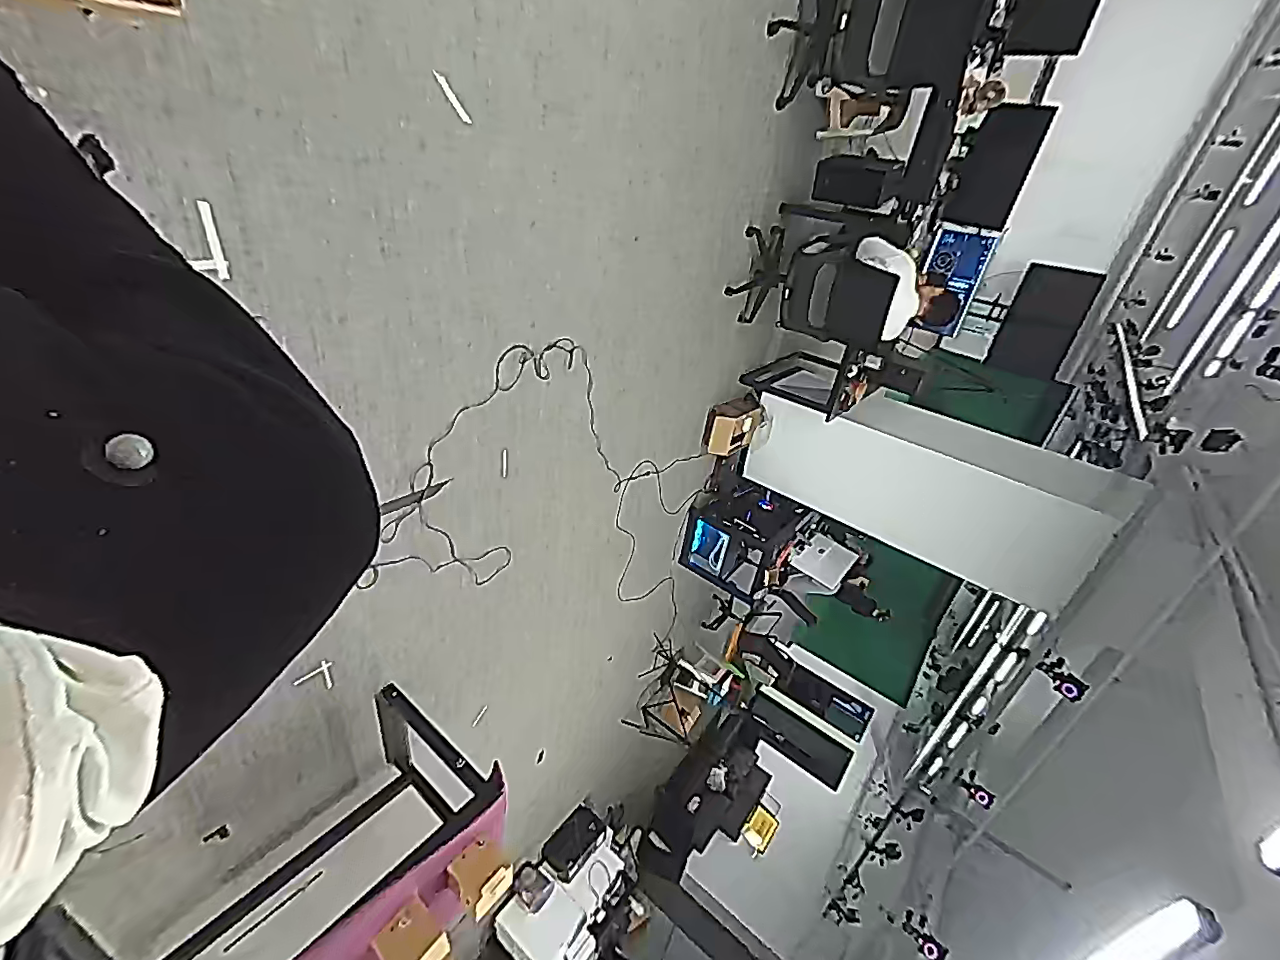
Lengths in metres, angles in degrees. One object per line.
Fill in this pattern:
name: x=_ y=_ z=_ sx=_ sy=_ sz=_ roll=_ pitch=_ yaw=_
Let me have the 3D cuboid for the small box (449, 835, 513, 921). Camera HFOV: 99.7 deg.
small box: x=-0.590 y=1.463 z=2.001 sx=0.168 sy=0.176 sz=0.179 roll=-30 pitch=139 yaw=-45

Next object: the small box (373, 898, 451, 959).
small box: x=-0.759 y=1.553 z=1.804 sx=0.168 sy=0.176 sz=0.179 roll=-34 pitch=141 yaw=-43
